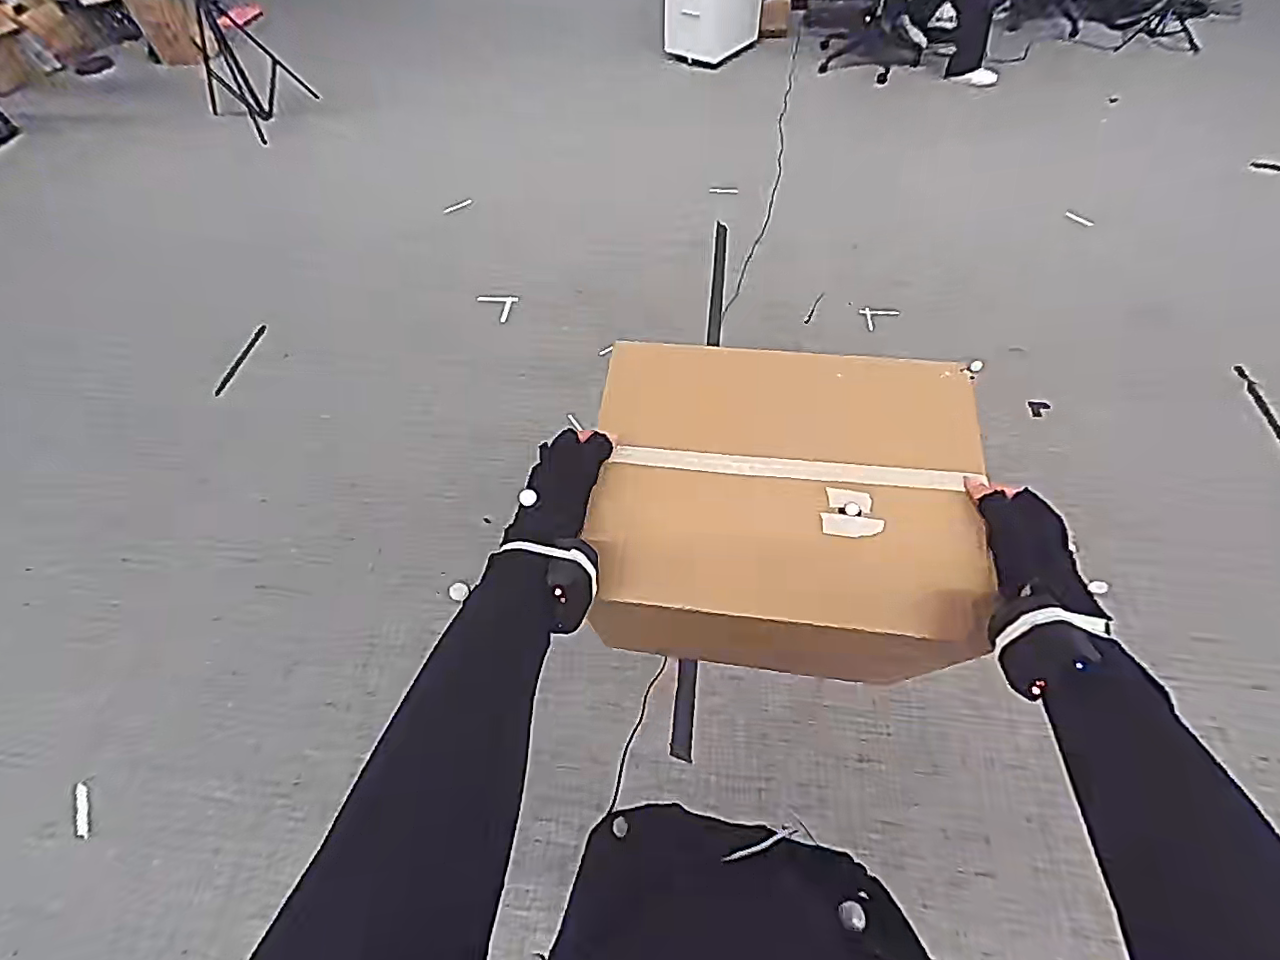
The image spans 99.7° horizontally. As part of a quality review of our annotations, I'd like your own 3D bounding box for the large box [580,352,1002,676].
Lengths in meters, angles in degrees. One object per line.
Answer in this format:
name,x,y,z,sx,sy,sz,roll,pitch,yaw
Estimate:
large box,0.162,0.059,0.710,0.408,0.320,0.320,5,65,7
